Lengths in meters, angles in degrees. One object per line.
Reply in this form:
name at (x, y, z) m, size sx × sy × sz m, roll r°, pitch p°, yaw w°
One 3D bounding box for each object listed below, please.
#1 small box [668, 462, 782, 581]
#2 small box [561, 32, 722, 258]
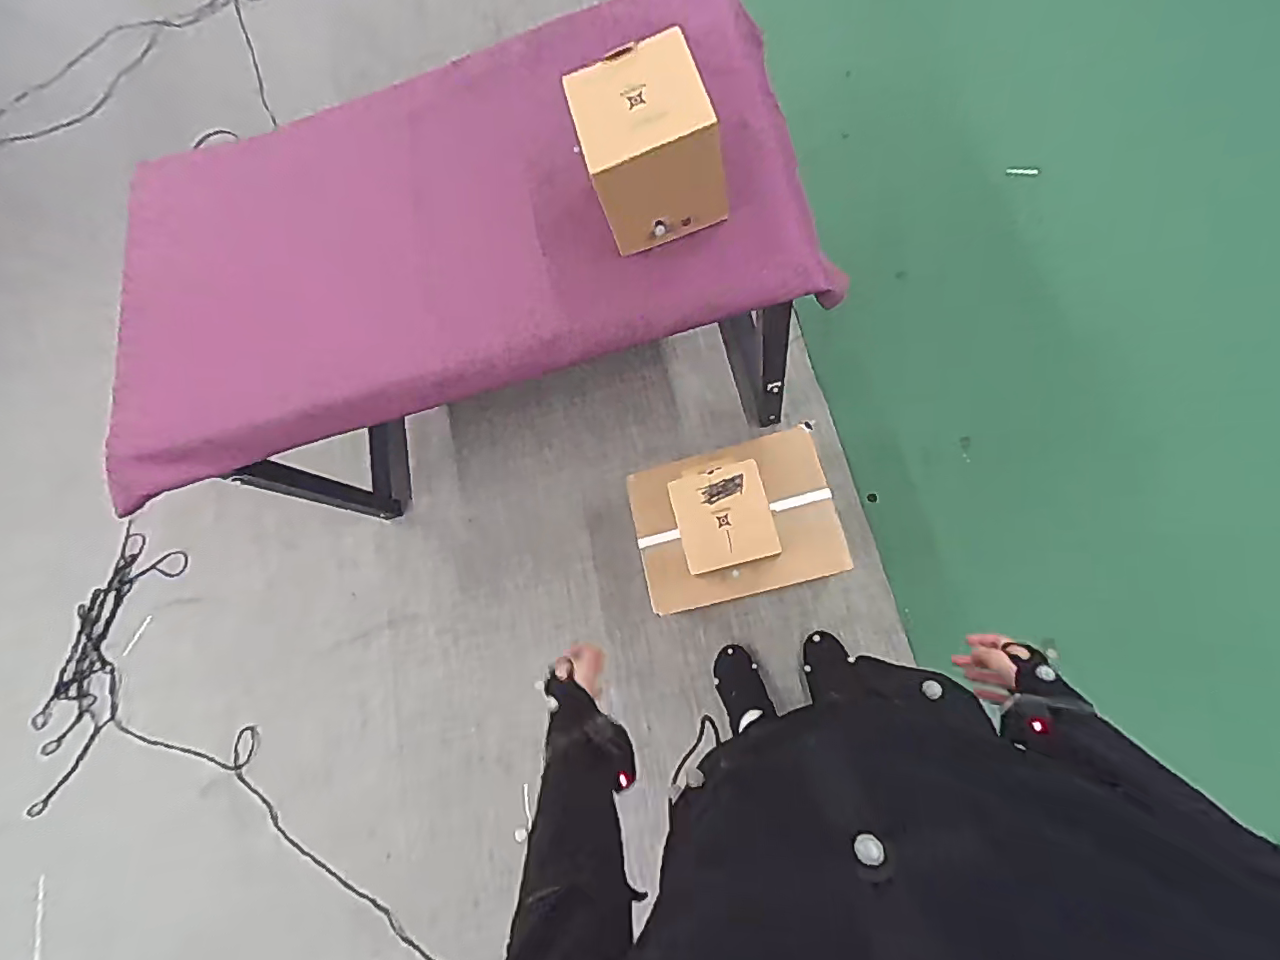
small box at (0.160, 0.085, 1.019) m, size 0.168 × 0.176 × 0.179 m, roll -16°, pitch 76°, yaw 8°
small box at (0.008, -0.450, 0.750) m, size 0.168 × 0.176 × 0.179 m, roll -18°, pitch 72°, yaw 9°
